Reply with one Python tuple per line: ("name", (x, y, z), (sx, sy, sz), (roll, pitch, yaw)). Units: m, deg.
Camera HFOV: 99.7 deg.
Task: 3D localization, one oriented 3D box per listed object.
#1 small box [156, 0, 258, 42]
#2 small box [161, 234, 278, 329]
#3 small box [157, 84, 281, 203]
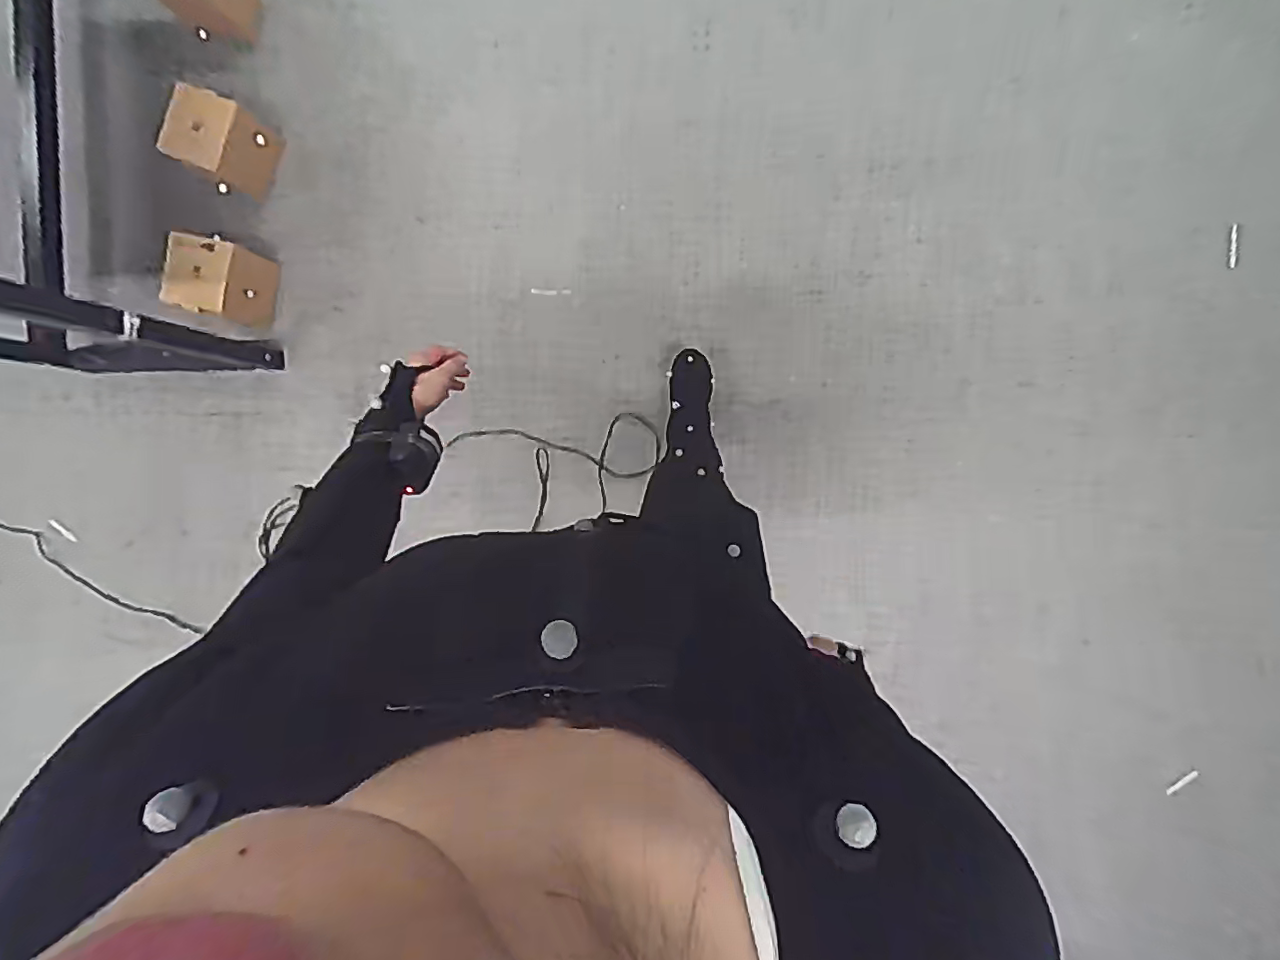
("small box", (-1.101, -1.255, 1.362), (0.168, 0.176, 0.179), (6, 92, 1))
("small box", (-1.081, -0.504, 1.403), (0.168, 0.176, 0.179), (13, 94, 1))
("small box", (-1.065, -0.851, 1.384), (0.168, 0.176, 0.179), (21, 95, 2))
